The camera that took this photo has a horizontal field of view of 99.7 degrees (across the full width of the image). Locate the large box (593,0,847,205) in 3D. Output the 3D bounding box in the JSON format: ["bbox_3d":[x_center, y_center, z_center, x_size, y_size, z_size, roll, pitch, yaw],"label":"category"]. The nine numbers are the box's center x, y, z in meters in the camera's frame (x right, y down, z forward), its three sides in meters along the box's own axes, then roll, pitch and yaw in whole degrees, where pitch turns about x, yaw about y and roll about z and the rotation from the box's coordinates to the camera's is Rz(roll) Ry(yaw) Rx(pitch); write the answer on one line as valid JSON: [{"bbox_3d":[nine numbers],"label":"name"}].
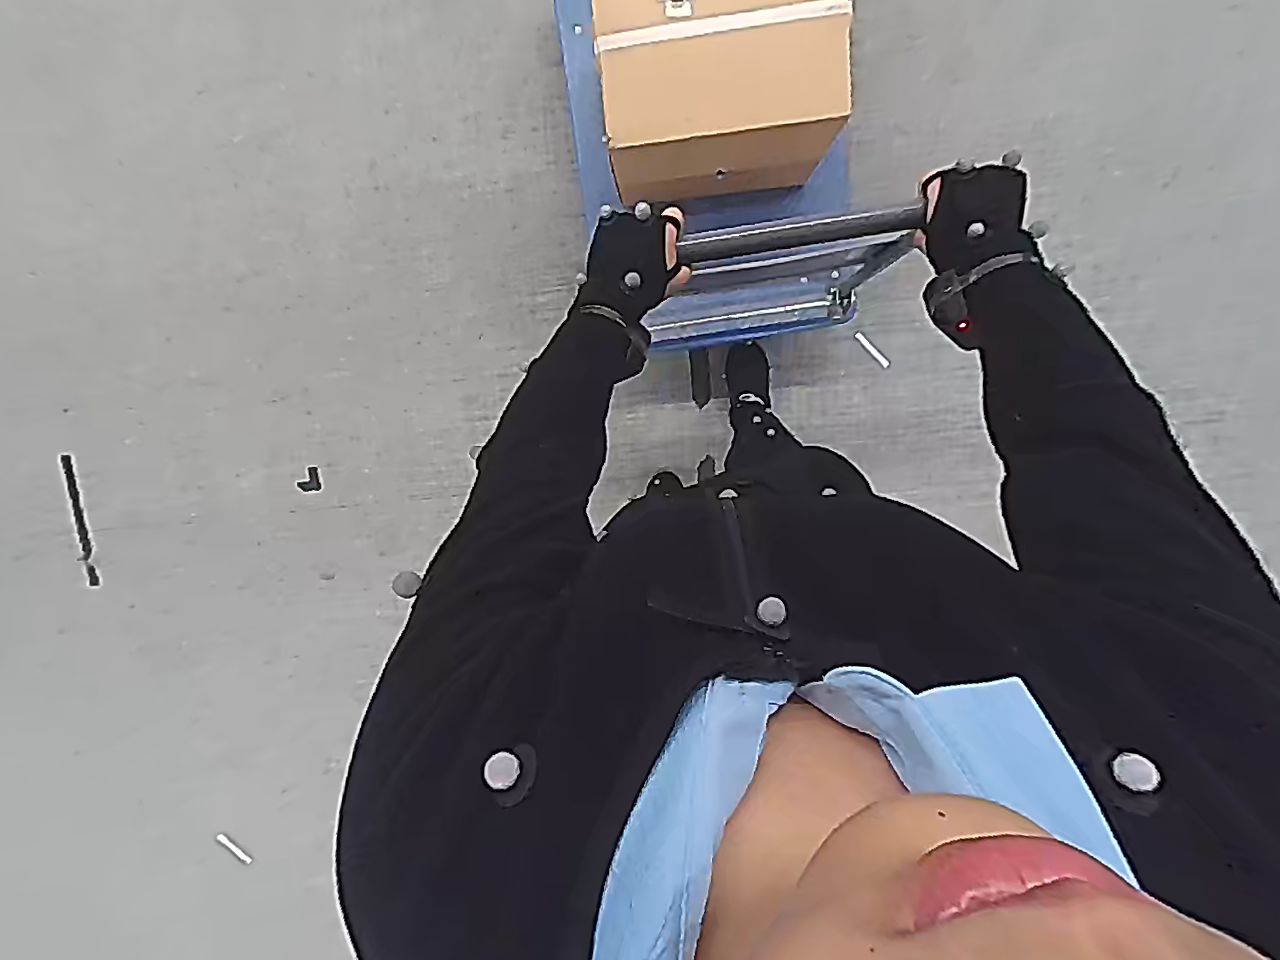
[{"bbox_3d":[0.140,-0.761,1.033,0.408,0.320,0.320,-6,98,5],"label":"large box"}]
